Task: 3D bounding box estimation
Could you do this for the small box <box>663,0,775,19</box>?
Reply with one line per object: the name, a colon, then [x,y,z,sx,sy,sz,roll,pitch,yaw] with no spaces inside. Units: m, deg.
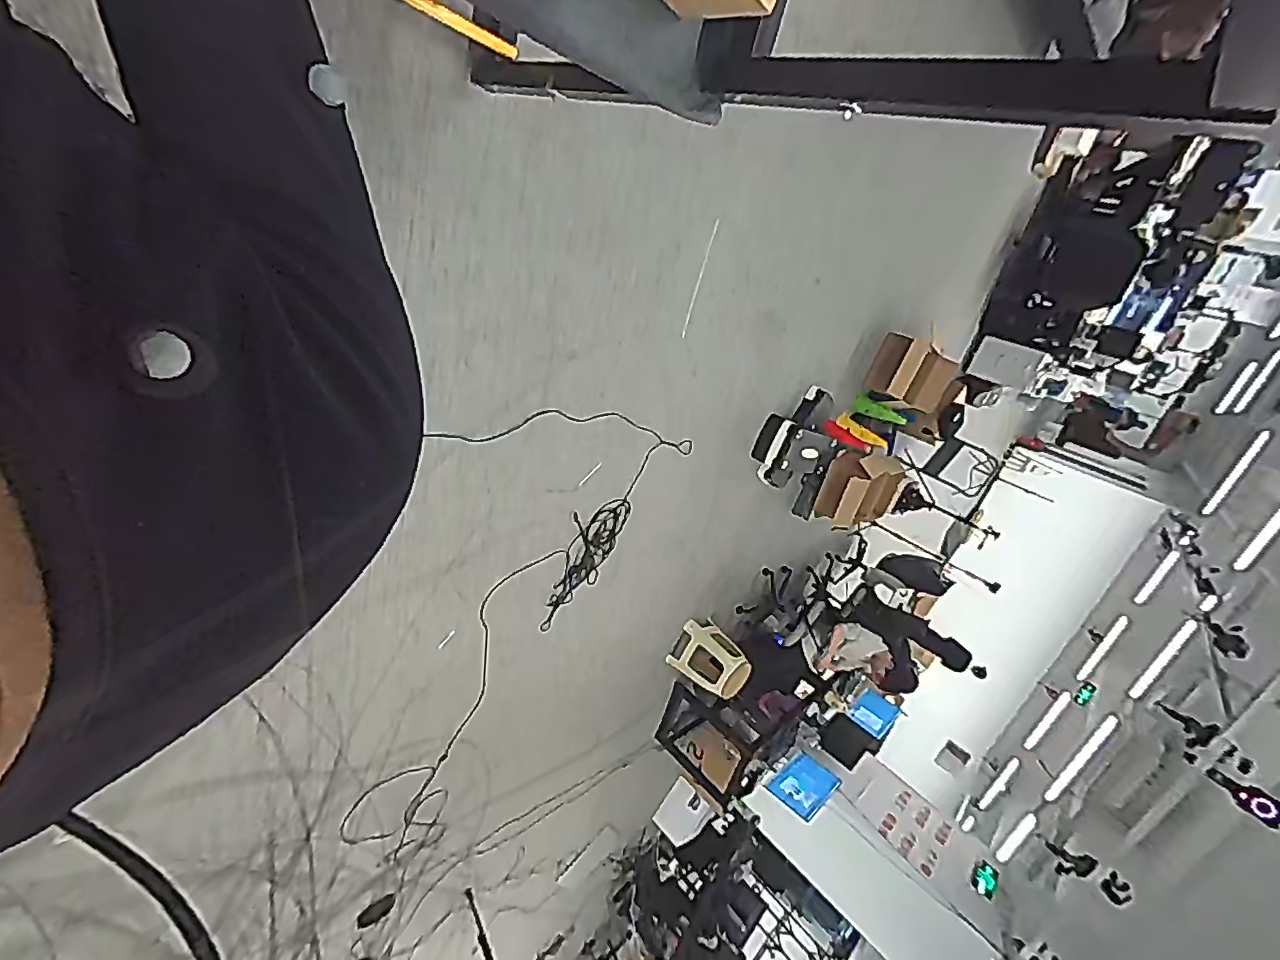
small box: [0.092,-0.740,0.699,0.168,0.176,0.179,-4,119,-48]
